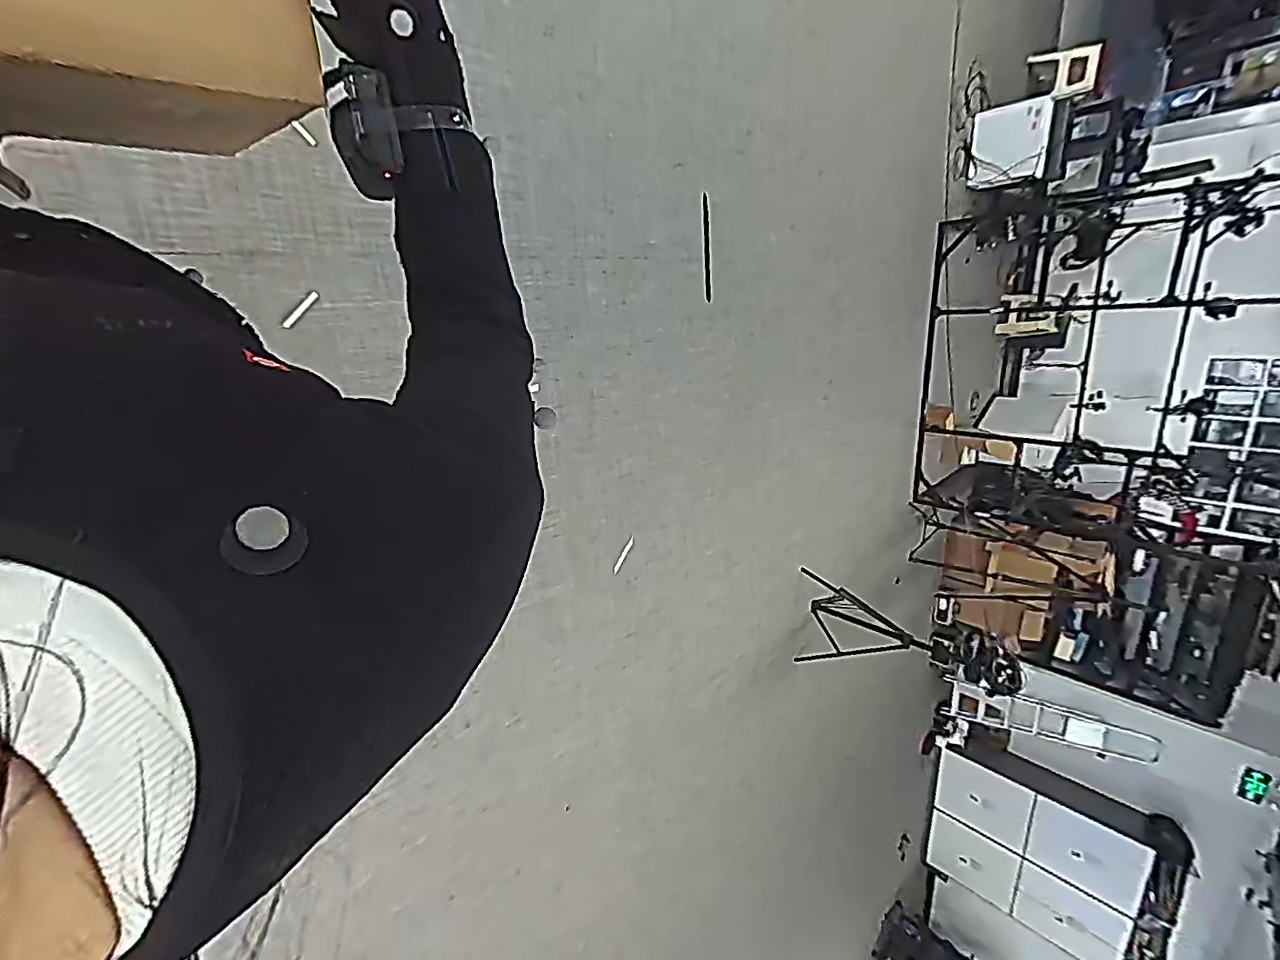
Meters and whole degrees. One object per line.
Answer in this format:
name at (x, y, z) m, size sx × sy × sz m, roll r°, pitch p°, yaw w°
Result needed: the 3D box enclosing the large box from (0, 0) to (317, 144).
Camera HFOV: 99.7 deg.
large box at (-0.452, -0.372, 0.257) m, size 0.408 × 0.320 × 0.320 m, roll -21°, pitch 123°, yaw -40°
